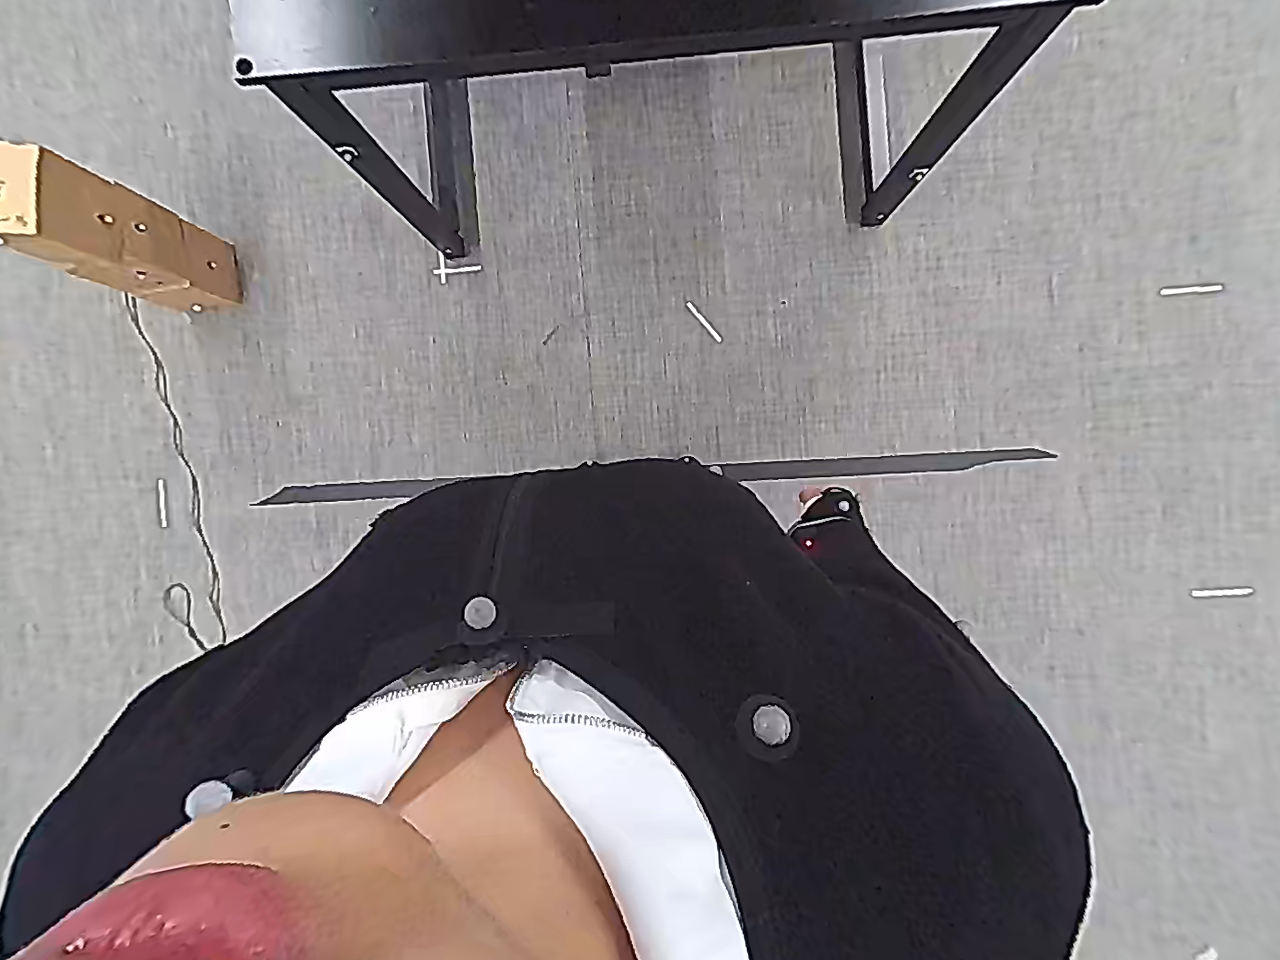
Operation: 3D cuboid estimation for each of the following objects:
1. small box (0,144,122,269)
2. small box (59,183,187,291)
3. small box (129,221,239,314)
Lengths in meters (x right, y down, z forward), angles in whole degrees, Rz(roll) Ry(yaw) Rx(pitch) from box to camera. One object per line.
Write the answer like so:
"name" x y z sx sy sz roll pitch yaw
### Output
"small box" -1.235 -0.562 1.122 0.168 0.176 0.179 4 90 2
"small box" -1.231 -0.565 1.286 0.168 0.176 0.179 -10 90 2
"small box" -1.222 -0.563 1.448 0.168 0.176 0.179 -7 92 3
